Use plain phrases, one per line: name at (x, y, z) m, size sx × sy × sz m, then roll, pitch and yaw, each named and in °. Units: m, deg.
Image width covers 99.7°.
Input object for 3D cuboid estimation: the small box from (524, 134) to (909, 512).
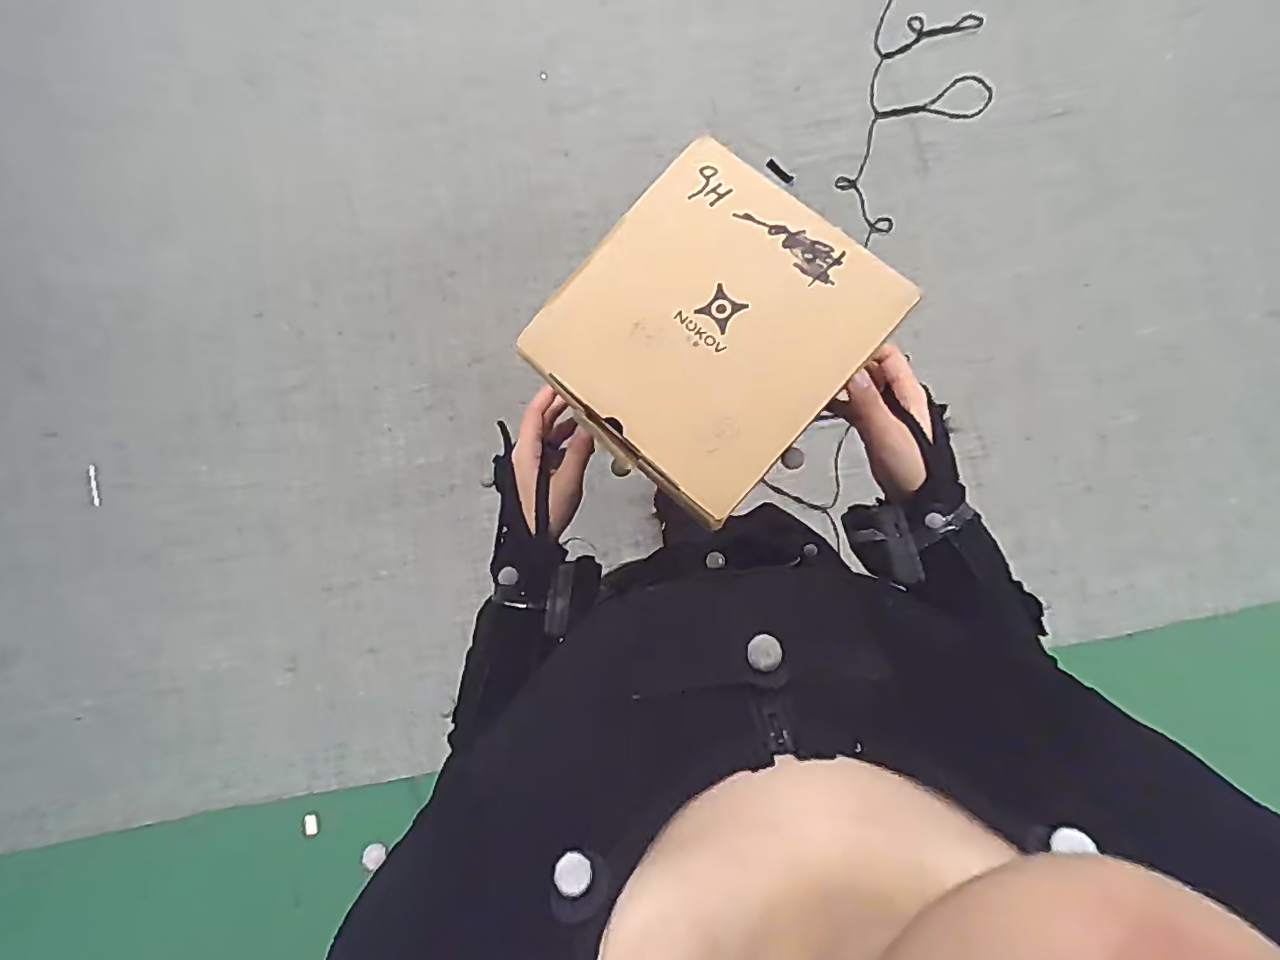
small box at (0.052, -0.091, 0.402) m, size 0.168 × 0.176 × 0.179 m, roll 42°, pitch 90°, yaw 9°
